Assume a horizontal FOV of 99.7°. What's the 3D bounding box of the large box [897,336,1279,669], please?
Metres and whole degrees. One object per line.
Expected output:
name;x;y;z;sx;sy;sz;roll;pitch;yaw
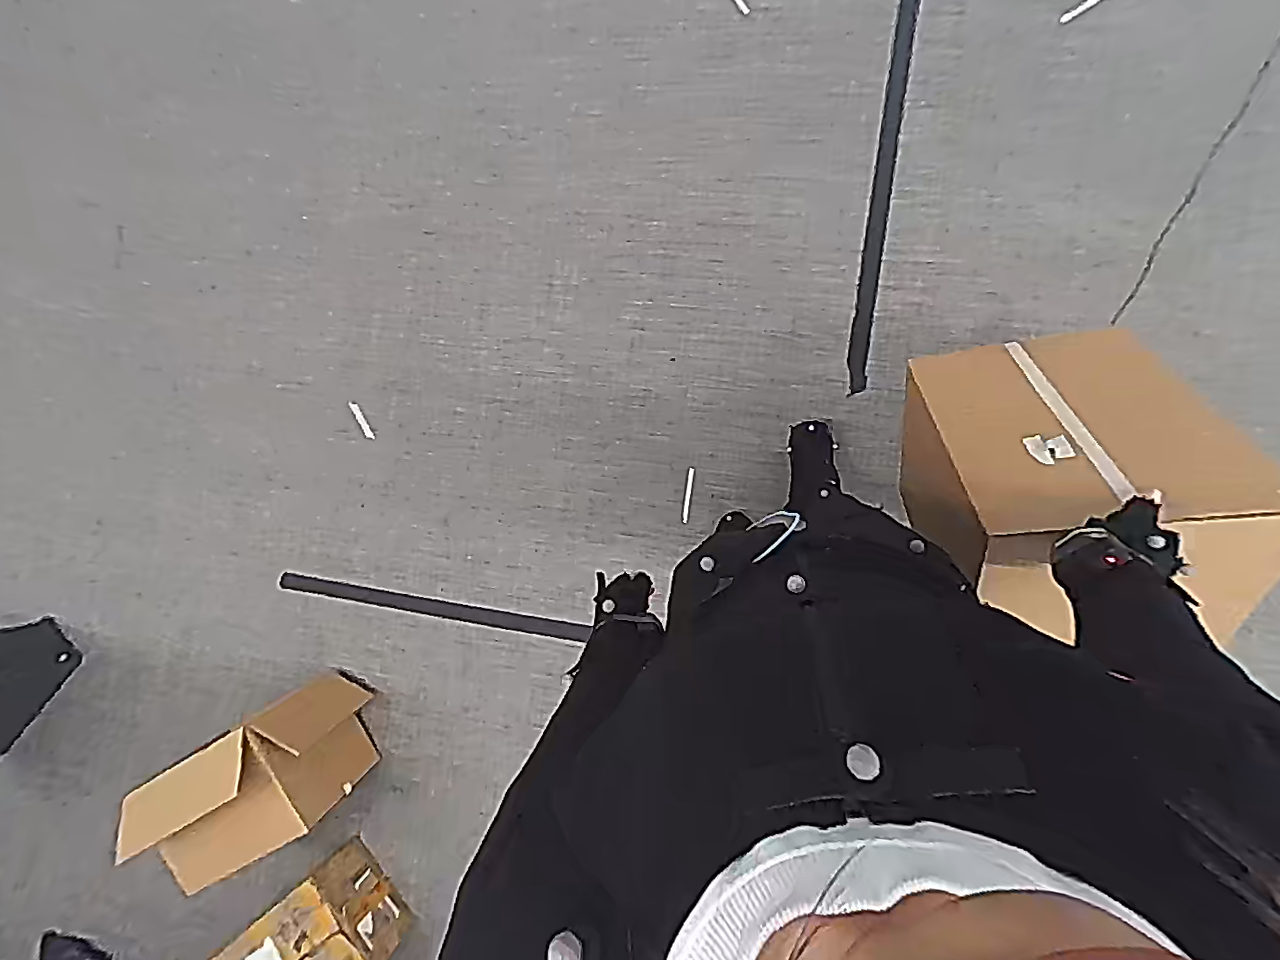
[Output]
large box;0.611;0.033;0.835;0.320;0.408;0.320;-7;132;16
